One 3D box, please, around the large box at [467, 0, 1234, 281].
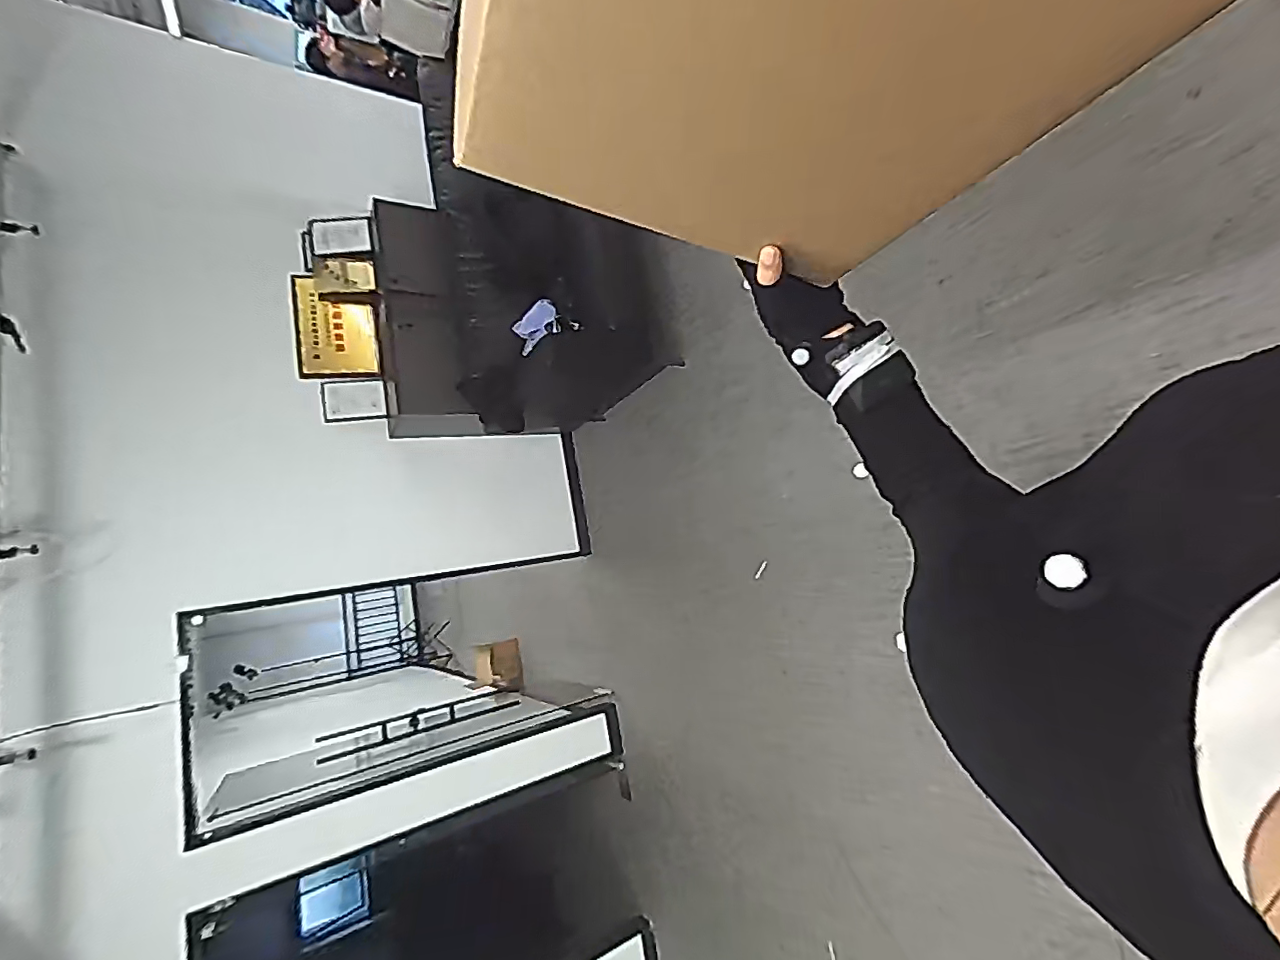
[{"bbox_3d":[0.121,-0.371,0.263,0.408,0.320,0.320,-25,61,61],"label":"large box"}]
